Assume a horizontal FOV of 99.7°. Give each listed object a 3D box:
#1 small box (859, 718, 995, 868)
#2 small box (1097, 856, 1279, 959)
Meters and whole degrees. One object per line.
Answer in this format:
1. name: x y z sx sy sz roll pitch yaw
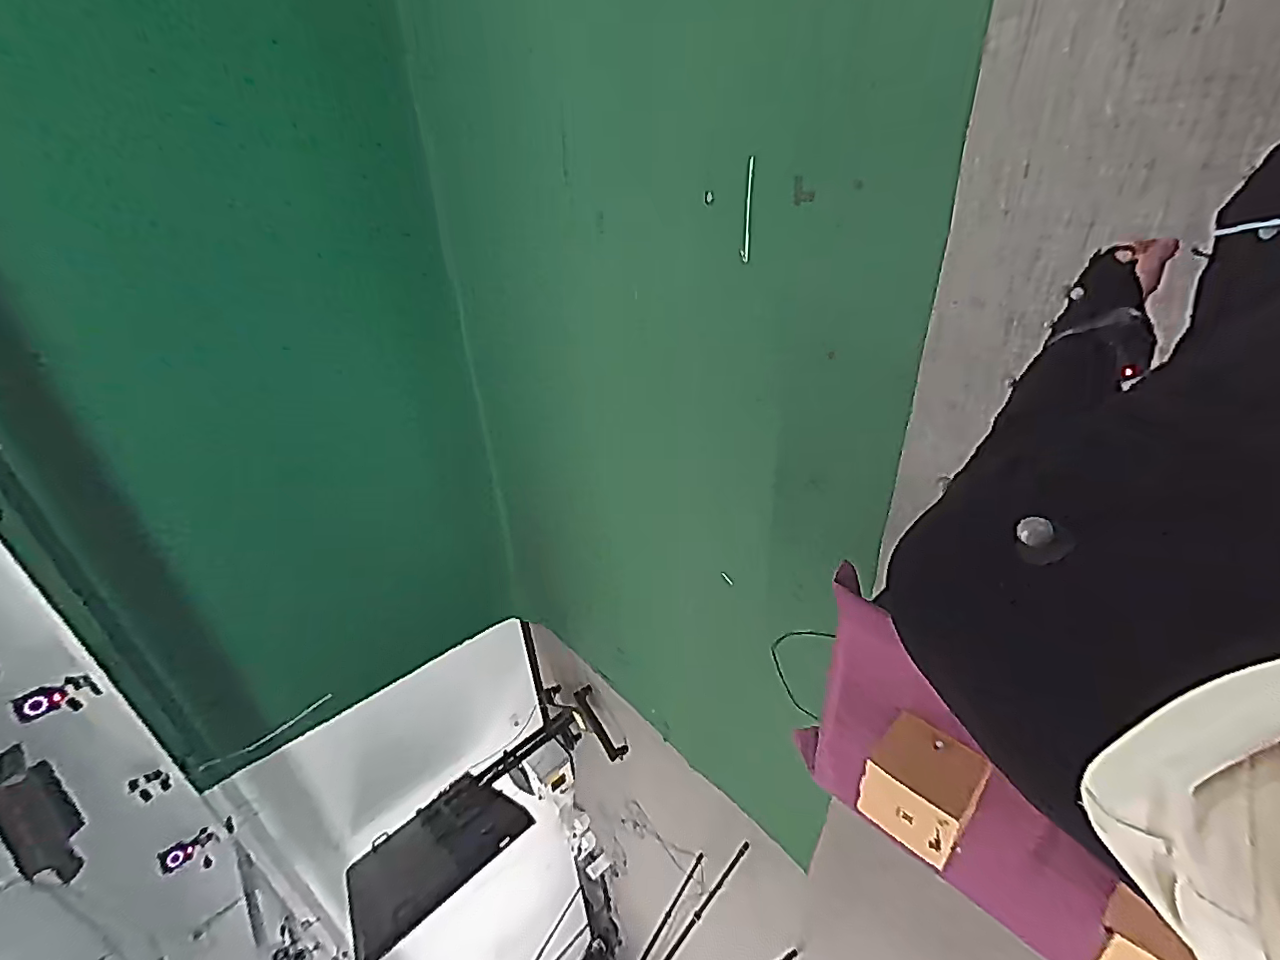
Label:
1. small box: 0.580 0.620 1.100 0.179 0.176 0.168 26 130 42
2. small box: 0.841 0.742 0.837 0.168 0.176 0.179 24 129 43
